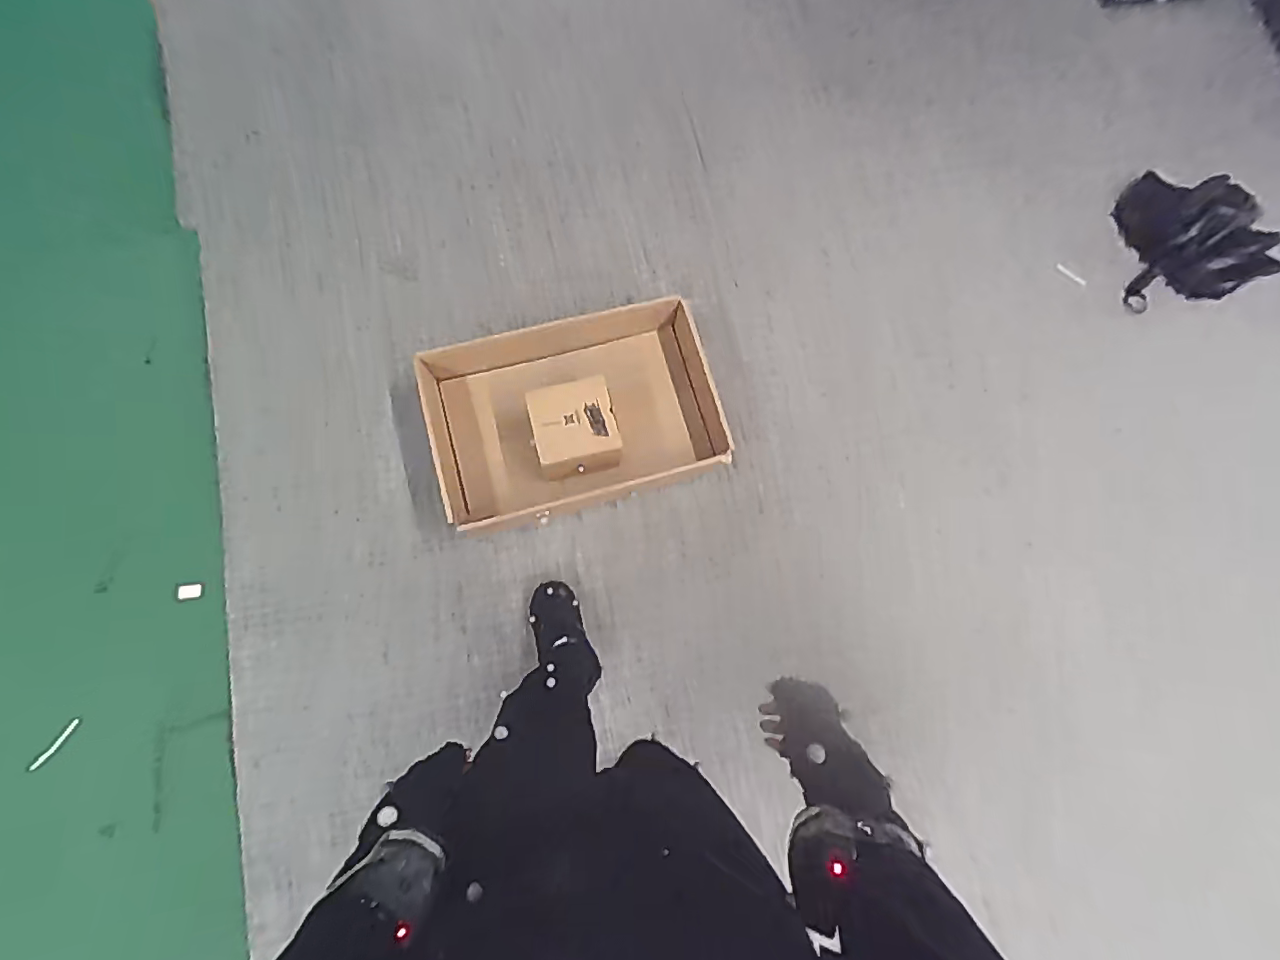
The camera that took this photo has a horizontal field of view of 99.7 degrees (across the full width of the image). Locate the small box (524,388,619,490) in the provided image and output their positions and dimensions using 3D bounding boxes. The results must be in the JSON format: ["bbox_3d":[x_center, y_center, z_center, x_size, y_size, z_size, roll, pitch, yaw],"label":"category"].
[{"bbox_3d":[-0.153,-0.087,1.223,0.179,0.176,0.168,-13,78,-6],"label":"small box"}]
